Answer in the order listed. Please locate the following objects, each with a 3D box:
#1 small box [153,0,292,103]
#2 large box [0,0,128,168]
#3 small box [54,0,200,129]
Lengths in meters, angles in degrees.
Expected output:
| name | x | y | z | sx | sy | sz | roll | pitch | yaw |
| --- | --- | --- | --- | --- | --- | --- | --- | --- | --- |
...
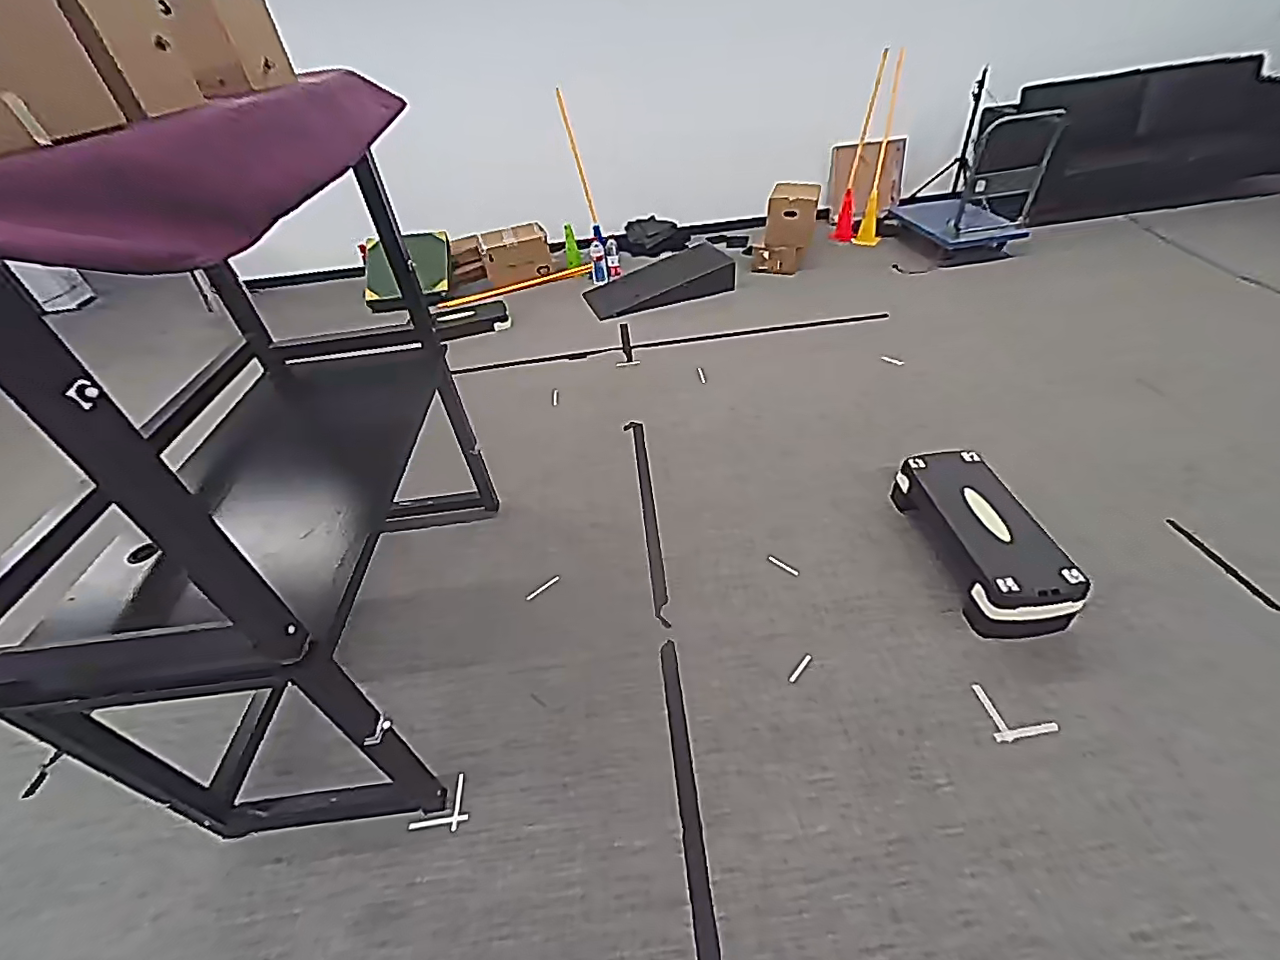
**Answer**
| name | x | y | z | sx | sy | sz | roll | pitch | yaw |
| --- | --- | --- | --- | --- | --- | --- | --- | --- | --- |
| small box | -0.882 | -0.913 | 1.145 | 0.168 | 0.176 | 0.179 | -1 | 41 | 8 |
| large box | -0.892 | -0.469 | 0.535 | 0.408 | 0.320 | 0.320 | -8 | 40 | 1 |
| small box | -0.857 | -0.663 | 0.856 | 0.168 | 0.176 | 0.179 | -8 | 41 | 1 |
